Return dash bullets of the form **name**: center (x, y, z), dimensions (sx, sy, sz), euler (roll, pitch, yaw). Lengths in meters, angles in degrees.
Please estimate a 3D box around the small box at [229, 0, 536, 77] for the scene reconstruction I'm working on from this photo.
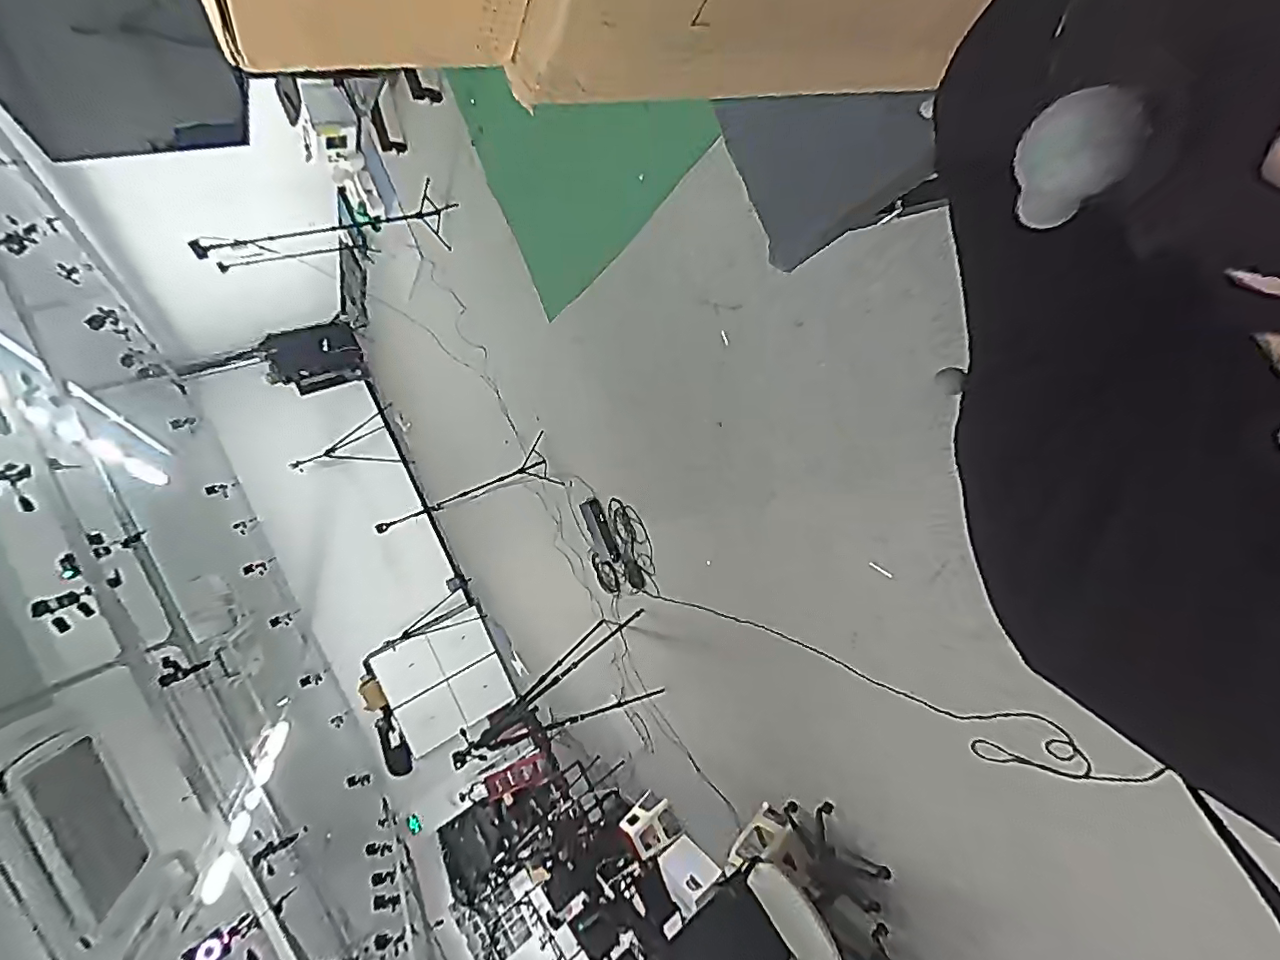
- **small box**: center (-0.147, -0.348, 0.270), dimensions (0.168, 0.176, 0.179), euler (64, 153, -1)
